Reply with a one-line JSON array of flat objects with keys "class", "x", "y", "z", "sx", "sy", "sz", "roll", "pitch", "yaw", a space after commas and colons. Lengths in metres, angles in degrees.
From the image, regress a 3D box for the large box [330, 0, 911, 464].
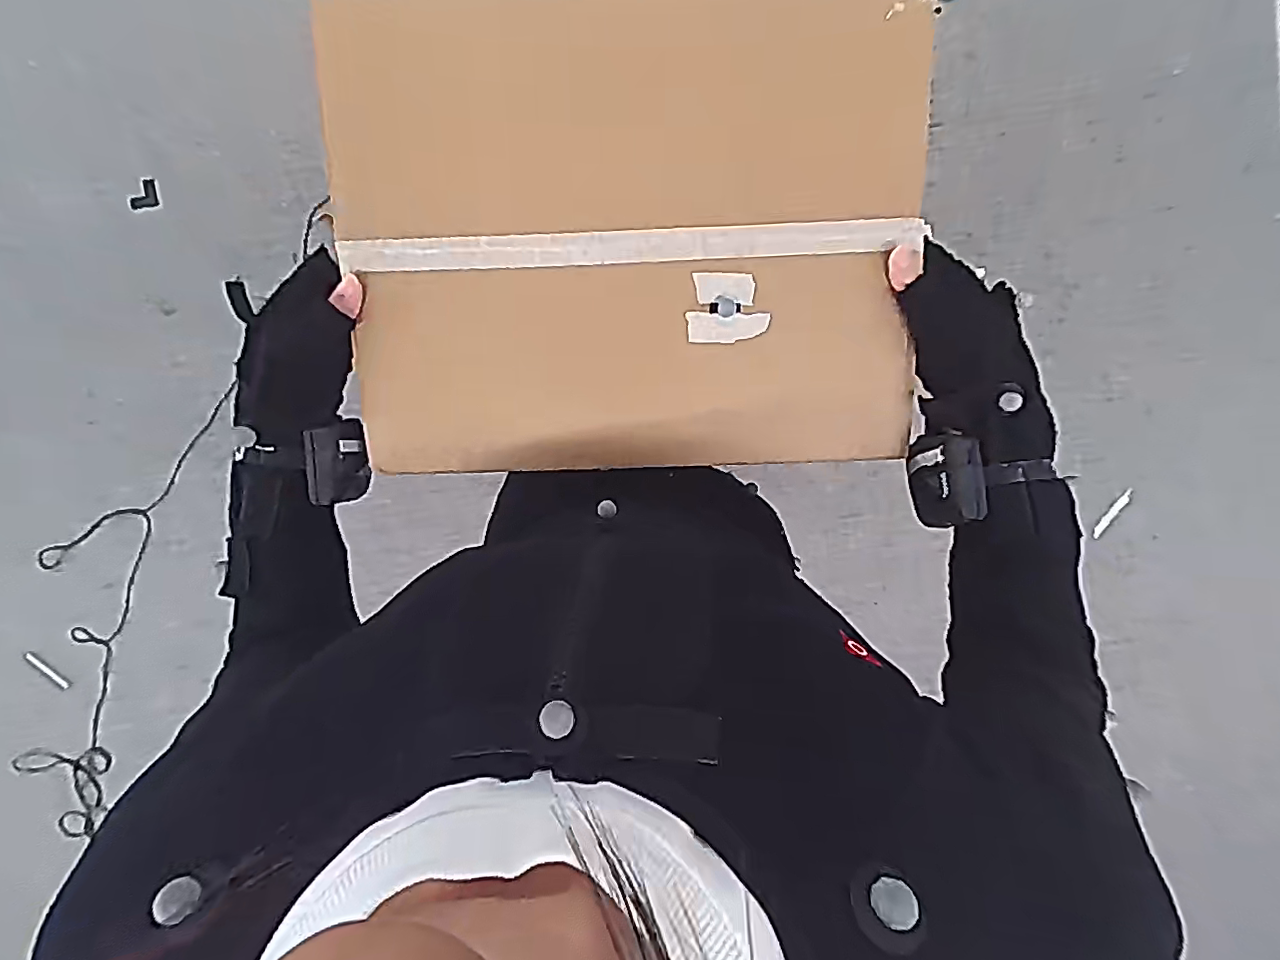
[{"class": "large box", "x": -0.010, "y": -0.201, "z": 0.539, "sx": 0.408, "sy": 0.320, "sz": 0.320, "roll": -2, "pitch": 102, "yaw": 0}]
